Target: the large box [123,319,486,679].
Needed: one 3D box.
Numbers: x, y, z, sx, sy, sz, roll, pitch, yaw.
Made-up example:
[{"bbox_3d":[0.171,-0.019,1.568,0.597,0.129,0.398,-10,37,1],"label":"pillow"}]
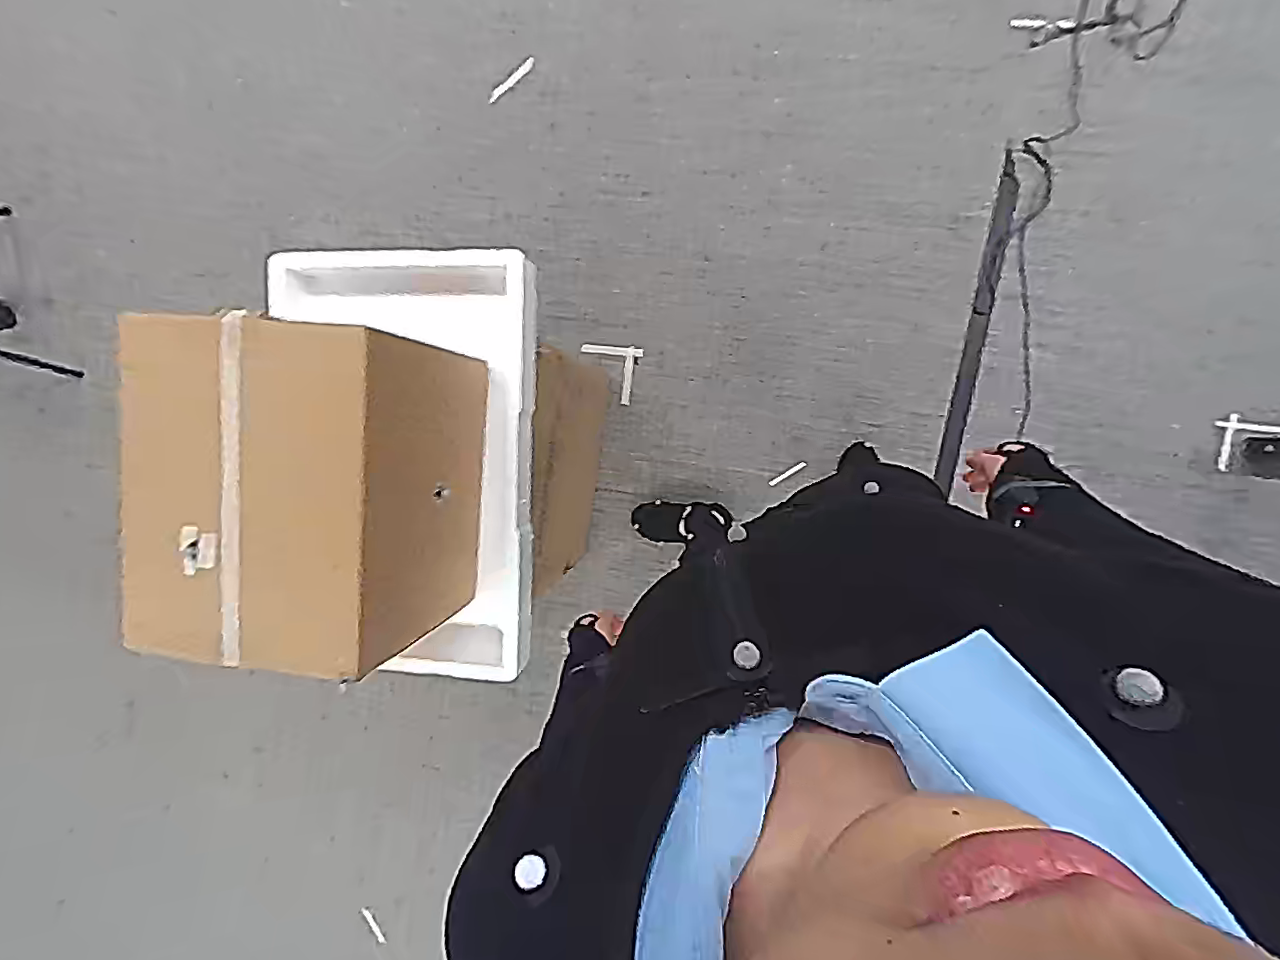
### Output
[{"bbox_3d":[-0.424,0.005,0.760,0.320,0.320,0.408,5,97,9],"label":"large box"}]
